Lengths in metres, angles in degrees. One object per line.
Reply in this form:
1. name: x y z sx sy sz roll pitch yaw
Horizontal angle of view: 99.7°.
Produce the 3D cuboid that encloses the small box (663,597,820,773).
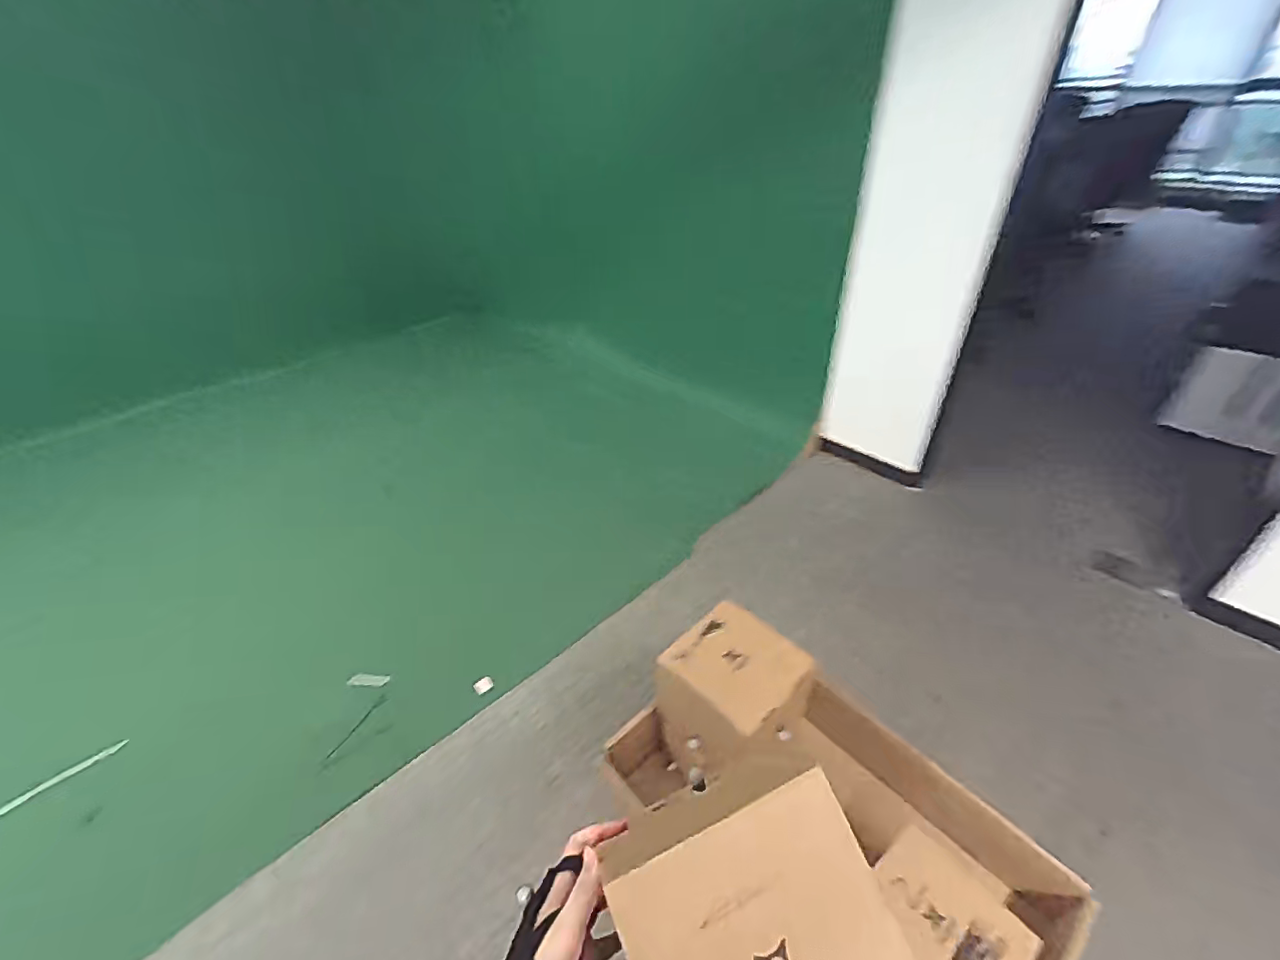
1. small box: 0.156 0.330 0.862 0.168 0.176 0.179 -31 45 -30
